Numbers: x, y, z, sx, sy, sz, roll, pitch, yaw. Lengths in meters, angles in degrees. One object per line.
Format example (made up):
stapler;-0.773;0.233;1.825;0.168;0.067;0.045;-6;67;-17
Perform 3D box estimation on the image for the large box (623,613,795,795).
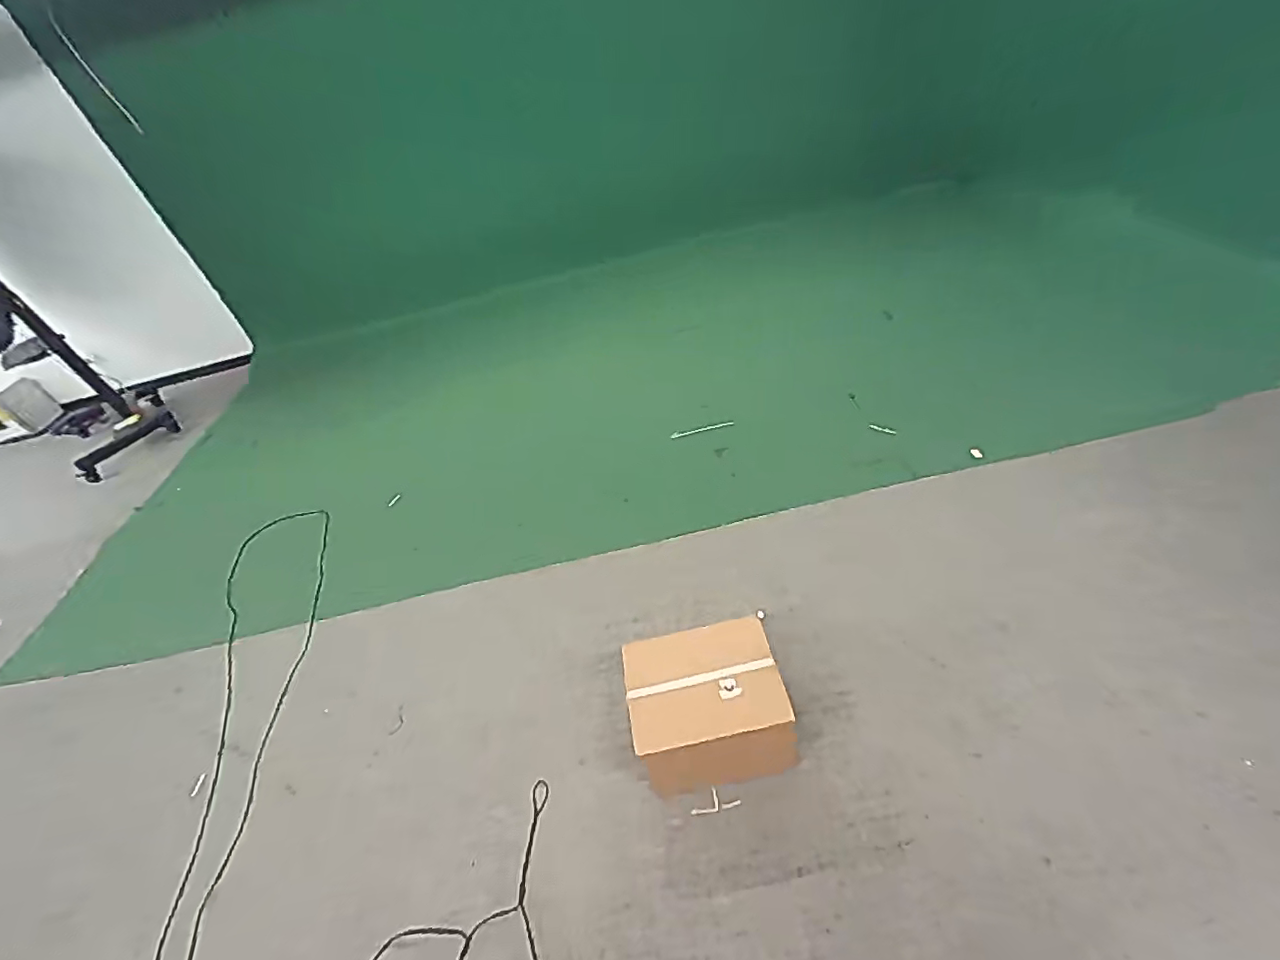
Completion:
large box;0.193;0.637;1.537;0.408;0.320;0.320;-14;41;1
